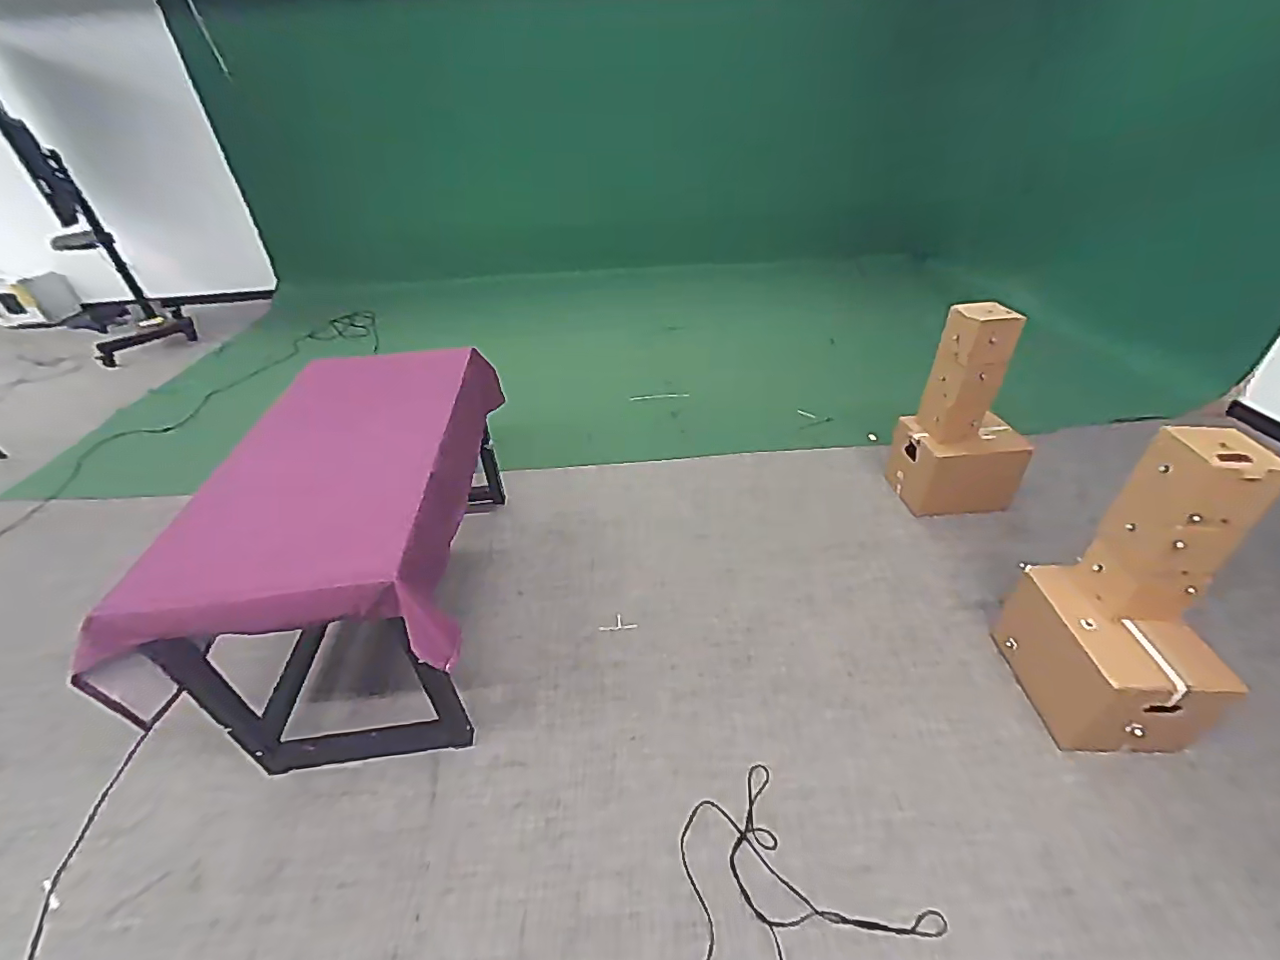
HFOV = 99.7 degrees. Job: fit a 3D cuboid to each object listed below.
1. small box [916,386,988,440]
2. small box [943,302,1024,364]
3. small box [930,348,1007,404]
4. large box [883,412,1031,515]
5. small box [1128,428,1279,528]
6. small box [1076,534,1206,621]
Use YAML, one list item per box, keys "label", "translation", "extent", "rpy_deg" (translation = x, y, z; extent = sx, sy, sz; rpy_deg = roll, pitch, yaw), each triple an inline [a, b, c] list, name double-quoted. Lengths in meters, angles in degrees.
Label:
- label: "small box"
  translation: [1.243, -0.271, 2.166]
  extent: [0.168, 0.176, 0.179]
  rpy_deg: [-5, 36, -4]
- label: "small box"
  translation: [1.237, -0.532, 1.967]
  extent: [0.179, 0.176, 0.168]
  rpy_deg: [-6, 37, -5]
- label: "small box"
  translation: [1.244, -0.401, 2.068]
  extent: [0.179, 0.176, 0.168]
  rpy_deg: [-7, 38, -7]
- label: "large box"
  translation: [1.323, -0.071, 2.302]
  extent: [0.408, 0.320, 0.320]
  rpy_deg: [-4, 37, -3]
- label: "small box"
  translation: [1.315, -0.005, 1.265]
  extent: [0.168, 0.176, 0.179]
  rpy_deg: [3, 36, 5]
- label: "small box"
  translation: [1.328, 0.263, 1.456]
  extent: [0.179, 0.176, 0.168]
  rpy_deg: [1, 38, 2]
